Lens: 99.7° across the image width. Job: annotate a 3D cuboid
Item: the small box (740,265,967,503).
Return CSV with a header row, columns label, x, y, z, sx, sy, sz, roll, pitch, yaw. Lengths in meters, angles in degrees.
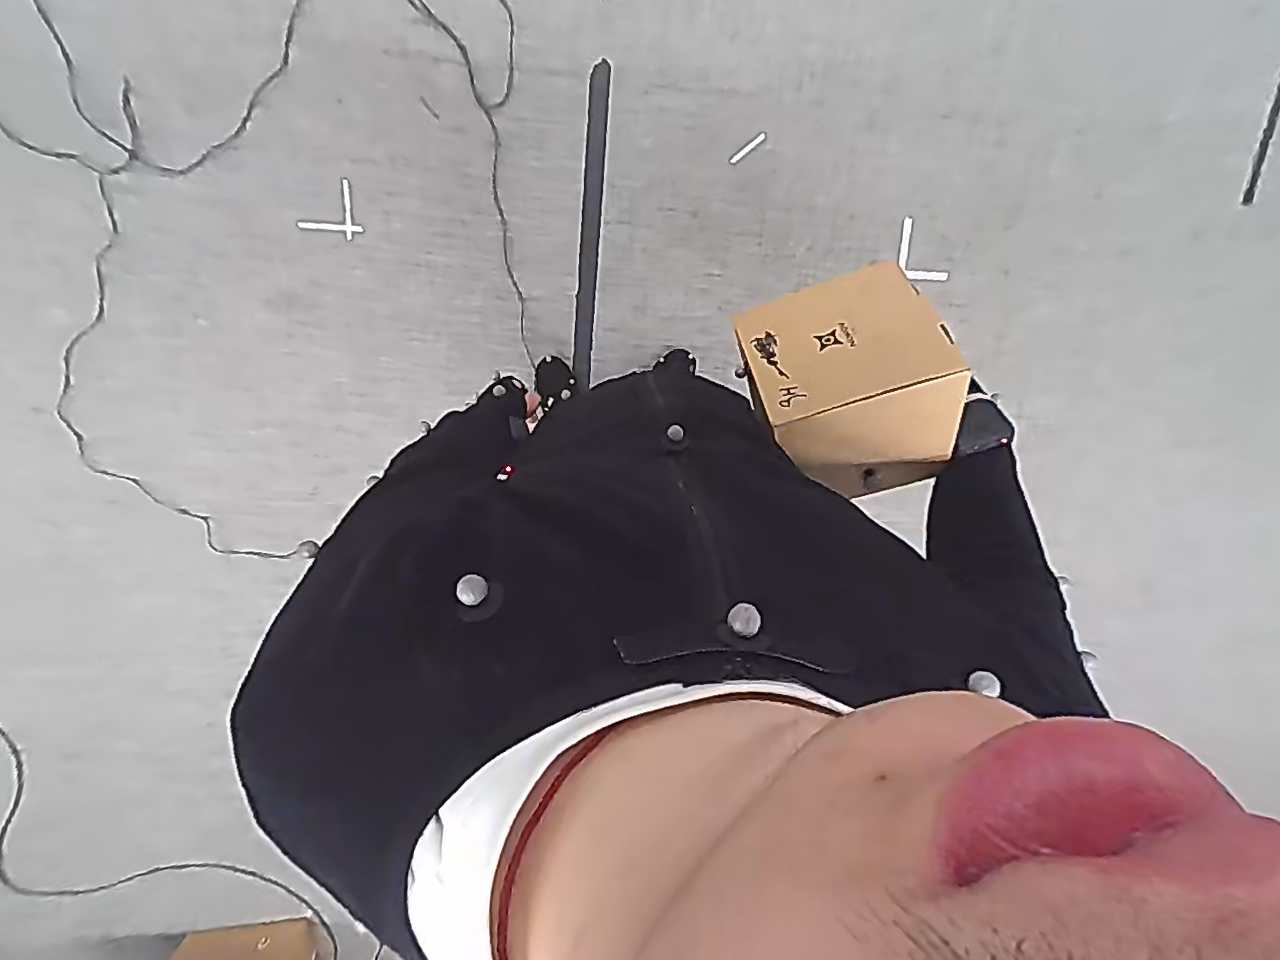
label,x,y,z,sx,sy,sz,roll,pitch,yaw
small box,0.224,-0.098,0.604,0.179,0.168,0.176,-16,142,10
